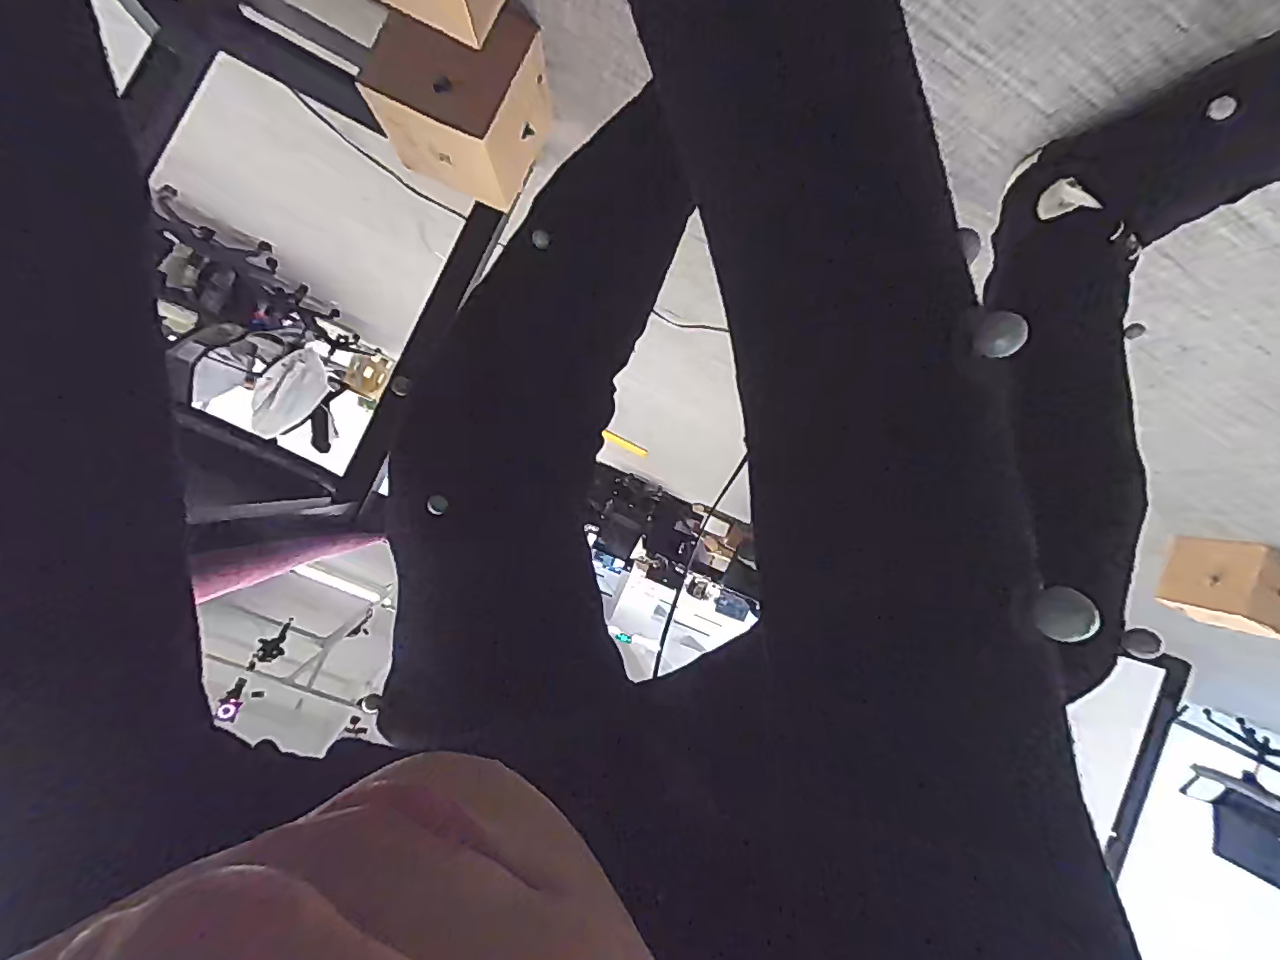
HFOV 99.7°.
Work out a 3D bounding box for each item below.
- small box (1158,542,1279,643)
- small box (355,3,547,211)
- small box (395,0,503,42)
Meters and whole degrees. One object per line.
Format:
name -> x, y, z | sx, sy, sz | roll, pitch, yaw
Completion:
small box -> 1.374, 0.254, 1.250 | 0.168, 0.176, 0.179 | 25, 175, -11
small box -> -0.236, -0.513, 0.730 | 0.179, 0.176, 0.168 | 24, 175, -2
small box -> -0.179, -0.517, 0.418 | 0.168, 0.176, 0.179 | 25, 176, -4
